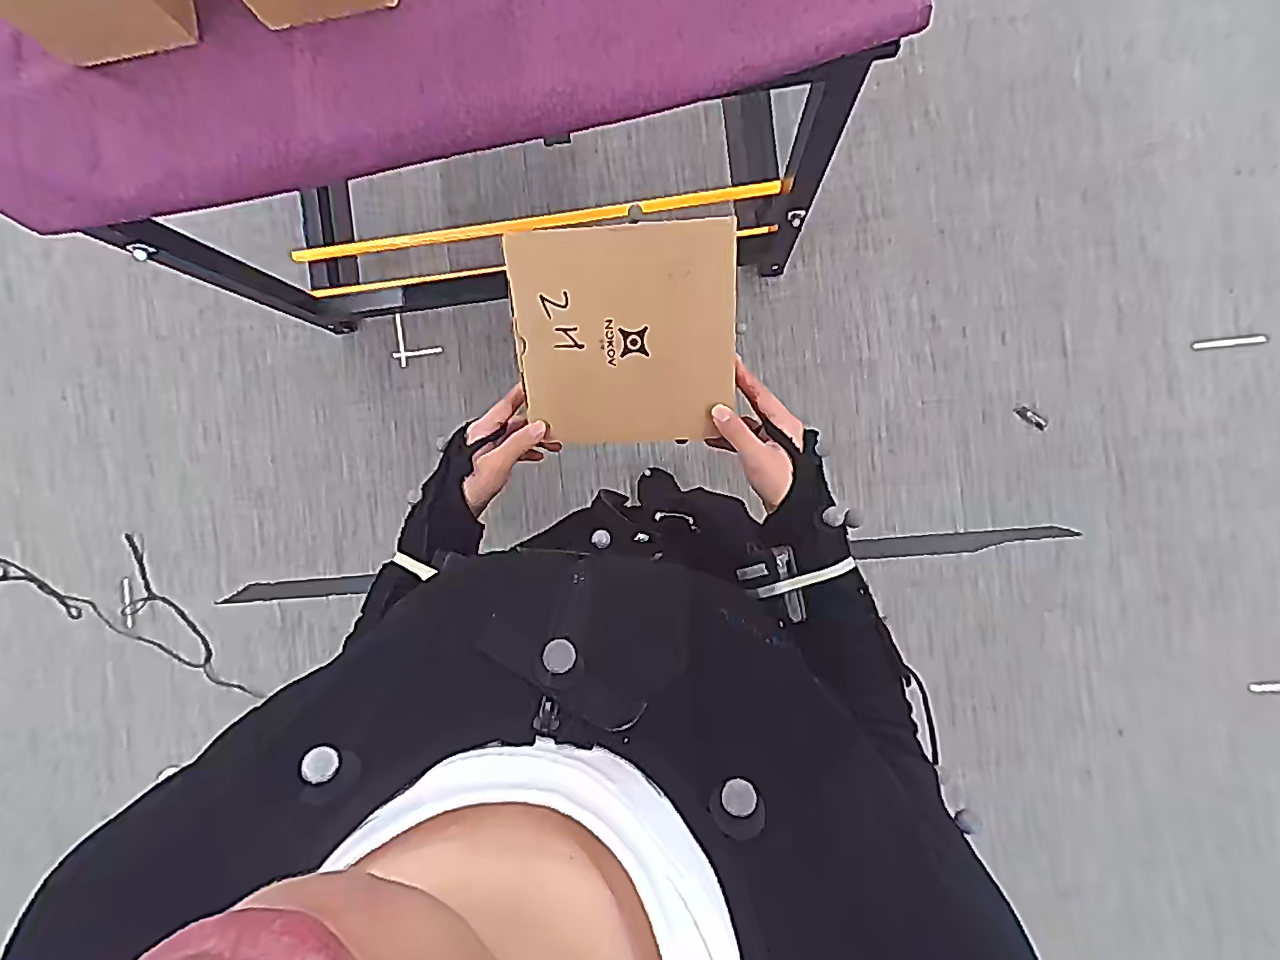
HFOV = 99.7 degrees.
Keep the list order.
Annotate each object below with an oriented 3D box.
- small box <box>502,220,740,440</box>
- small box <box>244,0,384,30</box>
[{"bbox_3d":[-0.005,-0.141,0.492,0.179,0.176,0.168,-1,113,7],"label":"small box"},{"bbox_3d":[-0.396,-0.654,0.597,0.179,0.176,0.168,-6,90,6],"label":"small box"}]
